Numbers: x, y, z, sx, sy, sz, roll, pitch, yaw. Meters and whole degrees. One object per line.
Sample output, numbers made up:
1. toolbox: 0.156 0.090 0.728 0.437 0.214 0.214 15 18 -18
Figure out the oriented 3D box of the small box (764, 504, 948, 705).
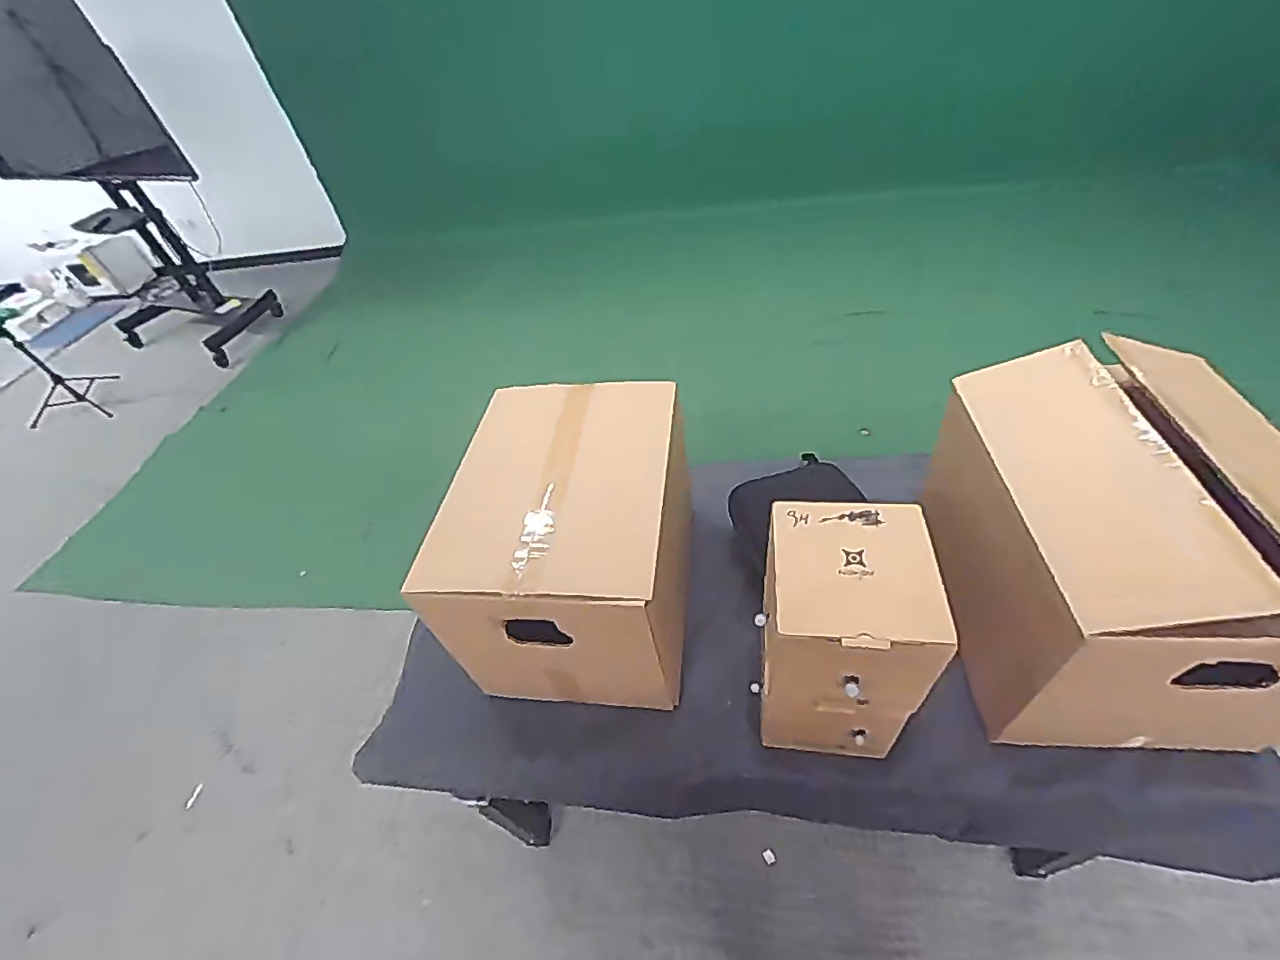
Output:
1. small box: 0.235 0.148 0.638 0.168 0.176 0.179 1 48 10
